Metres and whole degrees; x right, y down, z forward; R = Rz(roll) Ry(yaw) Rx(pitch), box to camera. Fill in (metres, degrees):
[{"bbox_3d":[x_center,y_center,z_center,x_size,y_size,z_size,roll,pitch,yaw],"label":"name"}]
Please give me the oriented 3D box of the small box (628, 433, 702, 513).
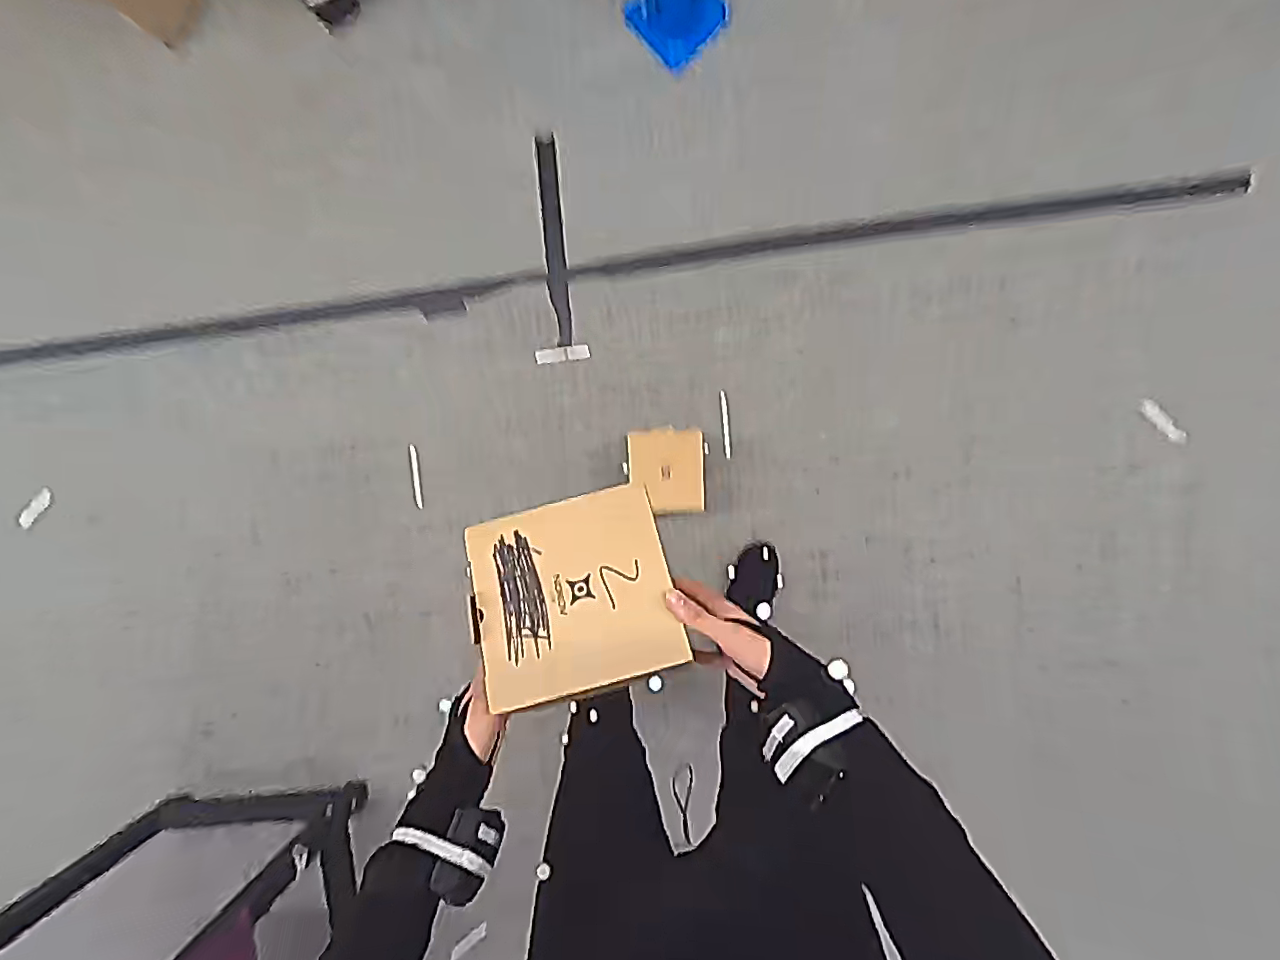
[{"bbox_3d":[0.062,-0.020,1.268,0.168,0.176,0.179,-2,93,4],"label":"small box"}]
